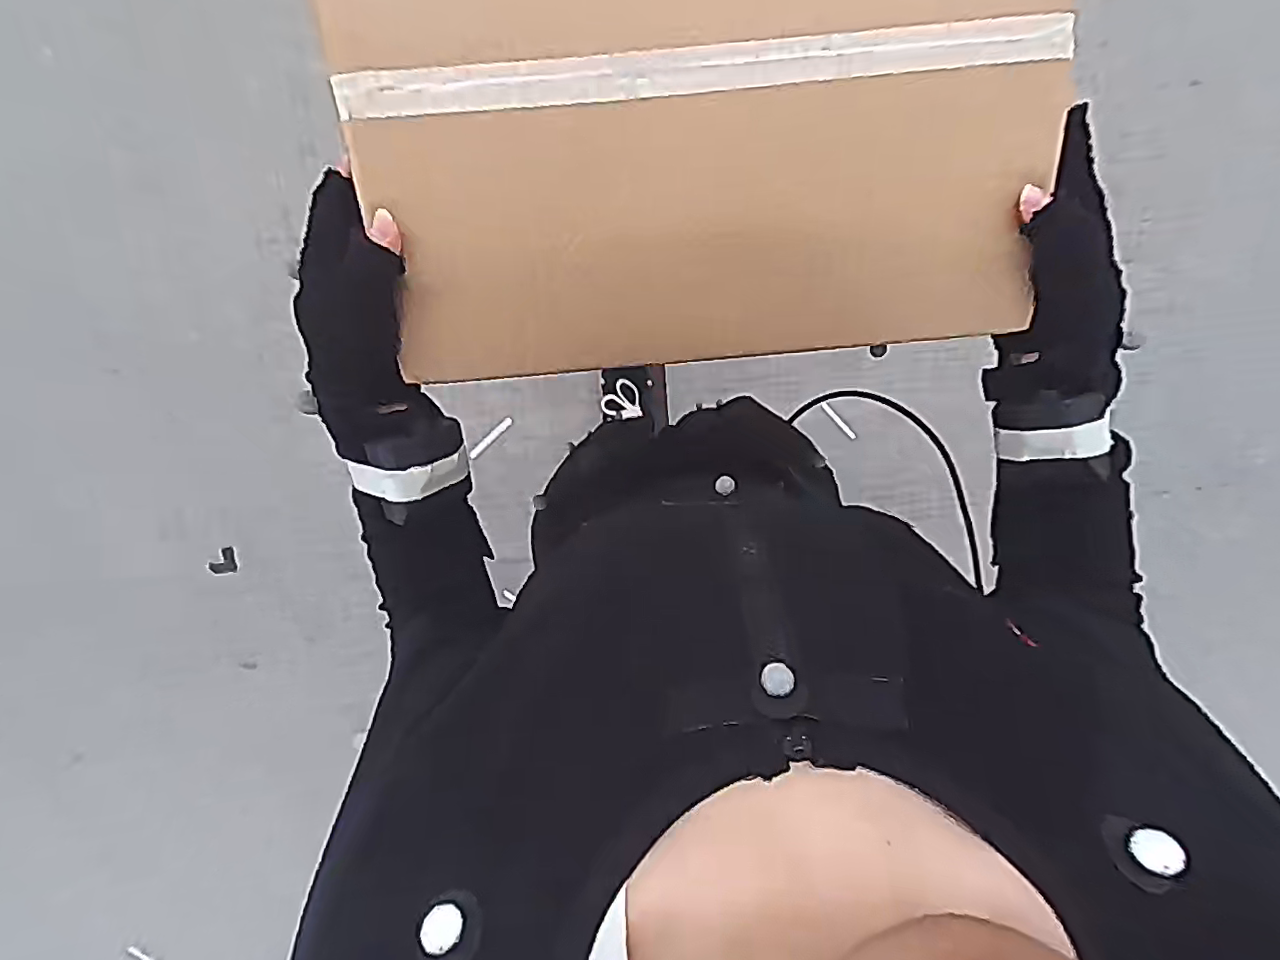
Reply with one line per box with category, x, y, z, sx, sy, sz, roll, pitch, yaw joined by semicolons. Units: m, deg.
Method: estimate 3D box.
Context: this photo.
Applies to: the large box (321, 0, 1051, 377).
large box;0.026;-0.283;0.444;0.408;0.320;0.320;-5;110;-1
